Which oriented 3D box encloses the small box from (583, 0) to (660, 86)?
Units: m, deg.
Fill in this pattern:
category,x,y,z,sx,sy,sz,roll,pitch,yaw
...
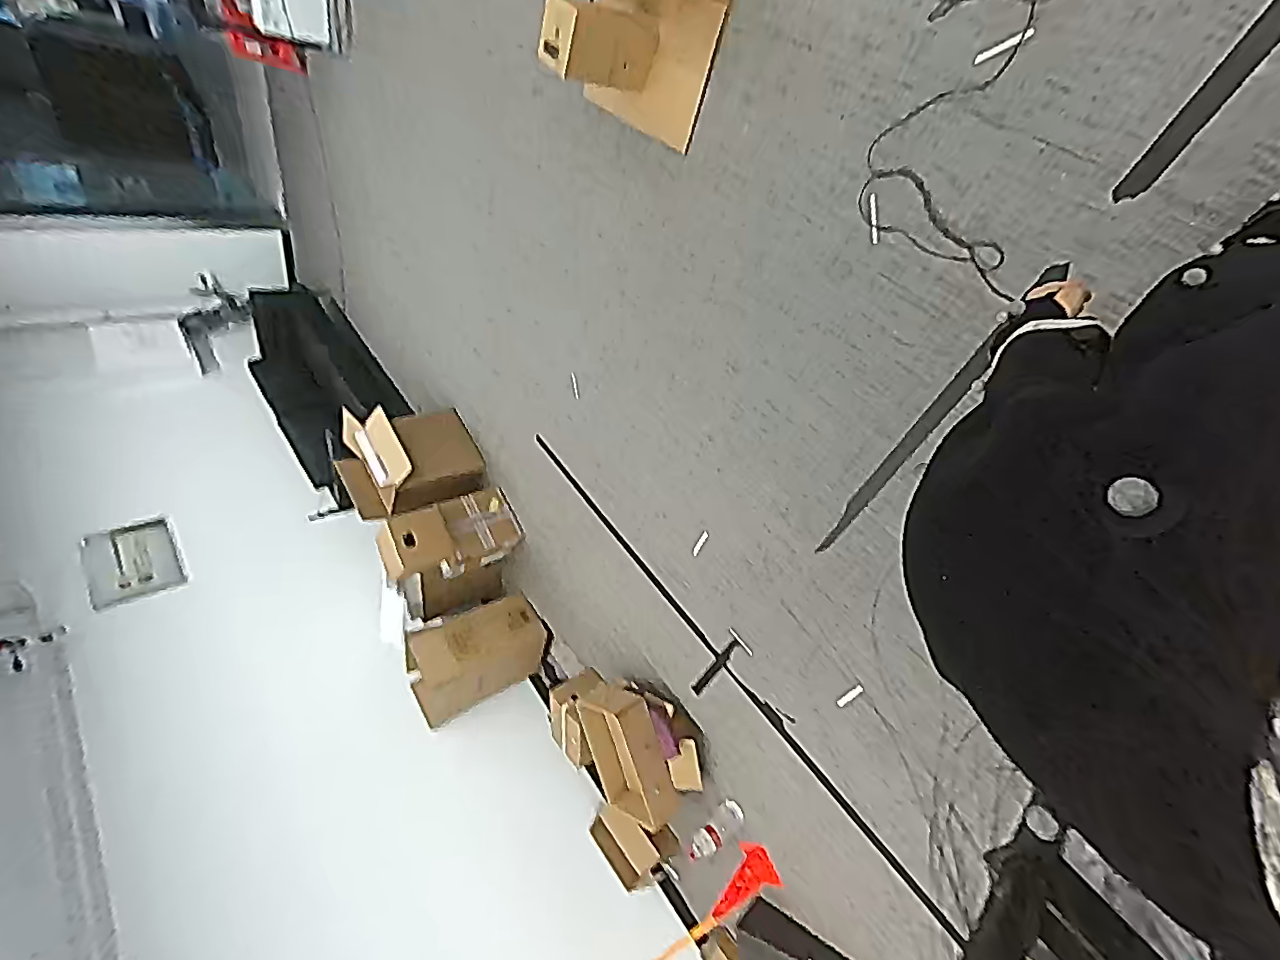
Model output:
category,x,y,z,sx,sy,sz,roll,pitch,yaw
small box,-0.060,-1.436,1.781,0.168,0.176,0.179,54,142,19
